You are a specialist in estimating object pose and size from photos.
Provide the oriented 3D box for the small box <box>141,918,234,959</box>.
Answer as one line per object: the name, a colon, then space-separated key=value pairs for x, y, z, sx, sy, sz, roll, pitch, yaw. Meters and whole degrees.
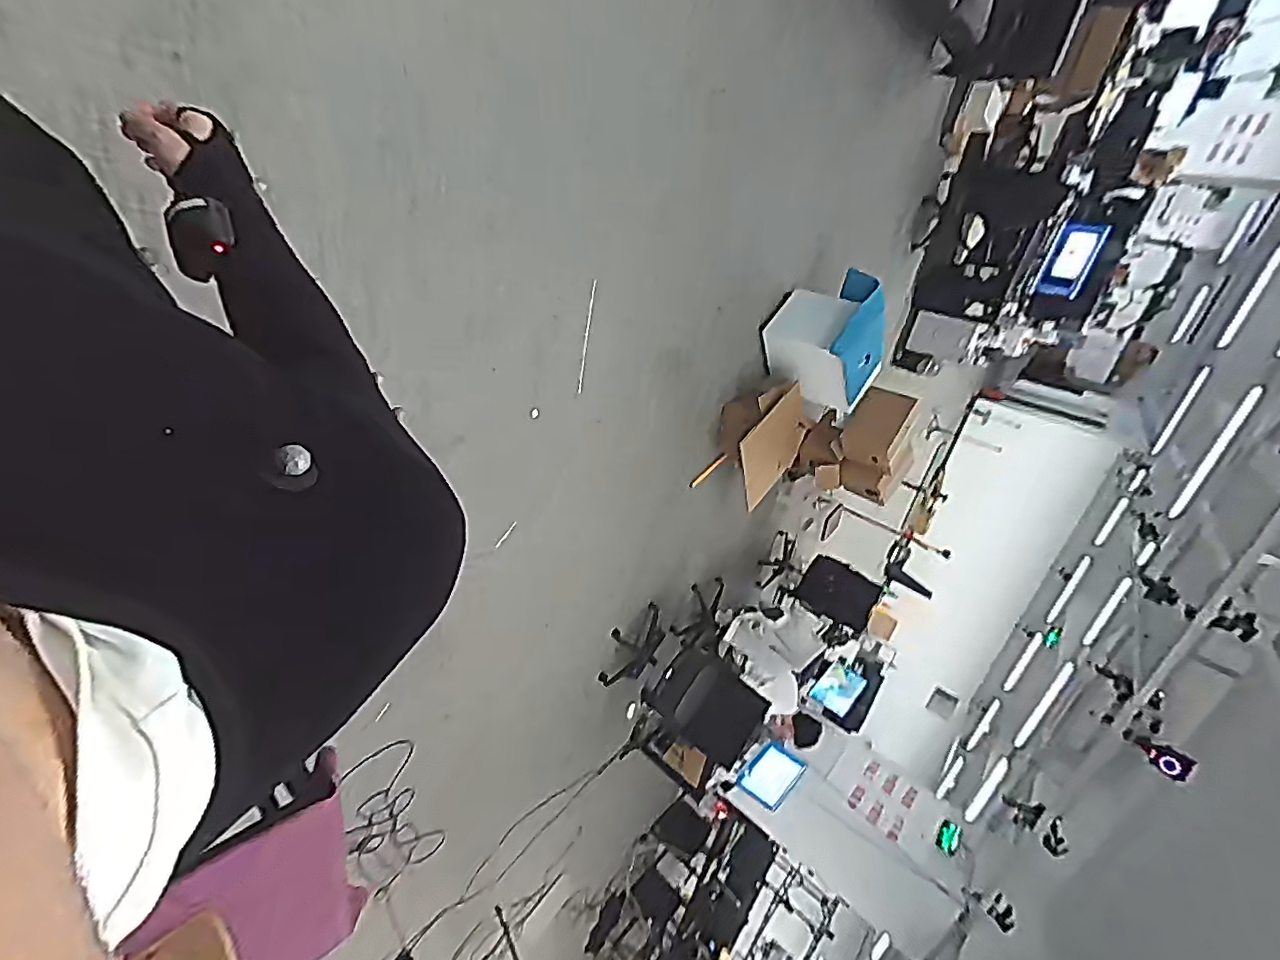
small box: x=-0.886 y=1.014 z=1.048 sx=0.168 sy=0.176 sz=0.179 roll=-25 pitch=133 yaw=-44
